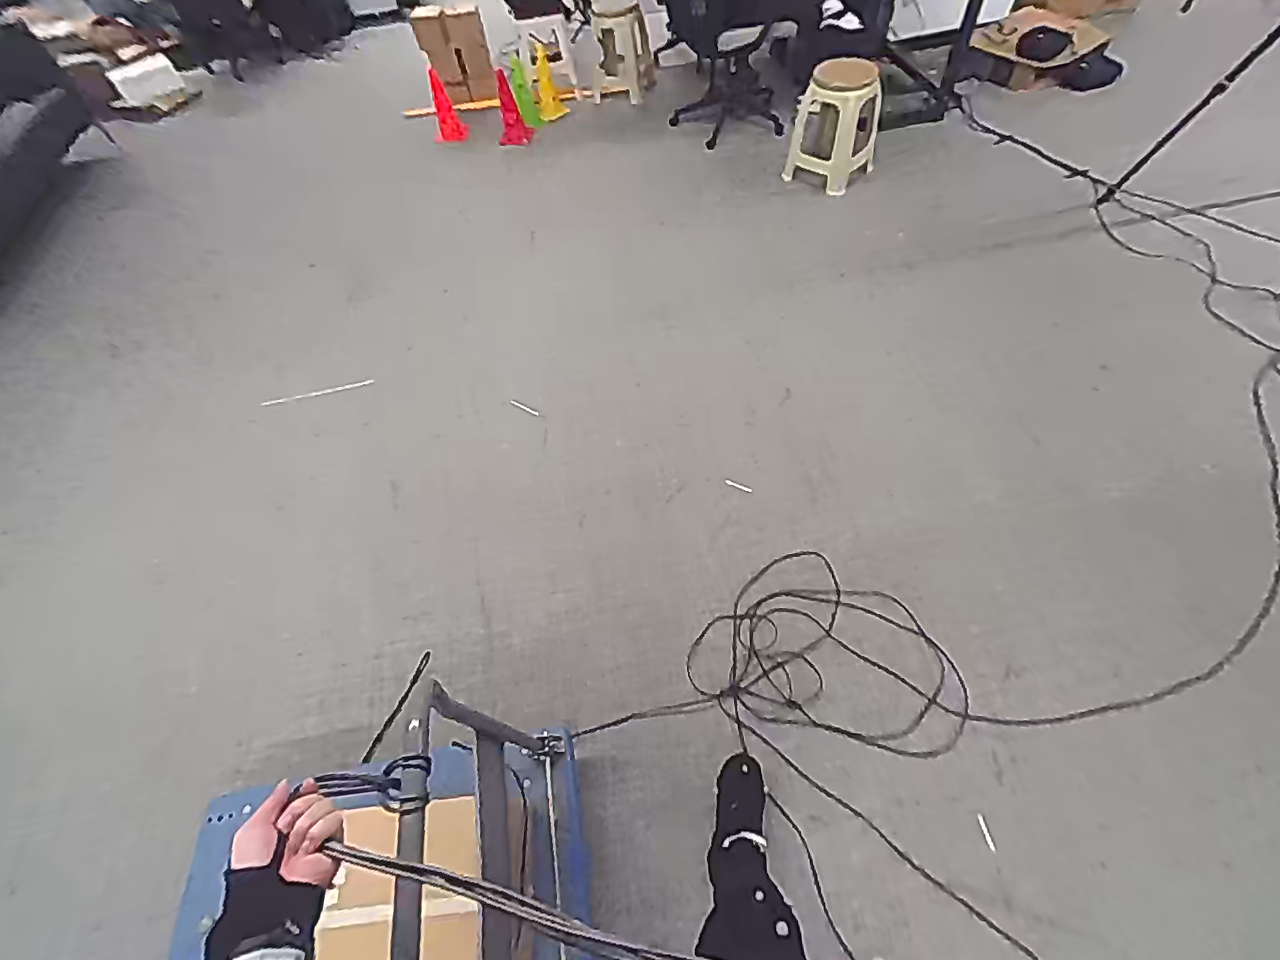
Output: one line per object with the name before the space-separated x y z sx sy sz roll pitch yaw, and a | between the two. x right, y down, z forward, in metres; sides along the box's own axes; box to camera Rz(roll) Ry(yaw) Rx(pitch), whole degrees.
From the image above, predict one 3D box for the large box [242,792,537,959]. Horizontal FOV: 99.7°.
large box | -0.426 0.789 1.003 0.408 0.320 0.320 -8 56 2
